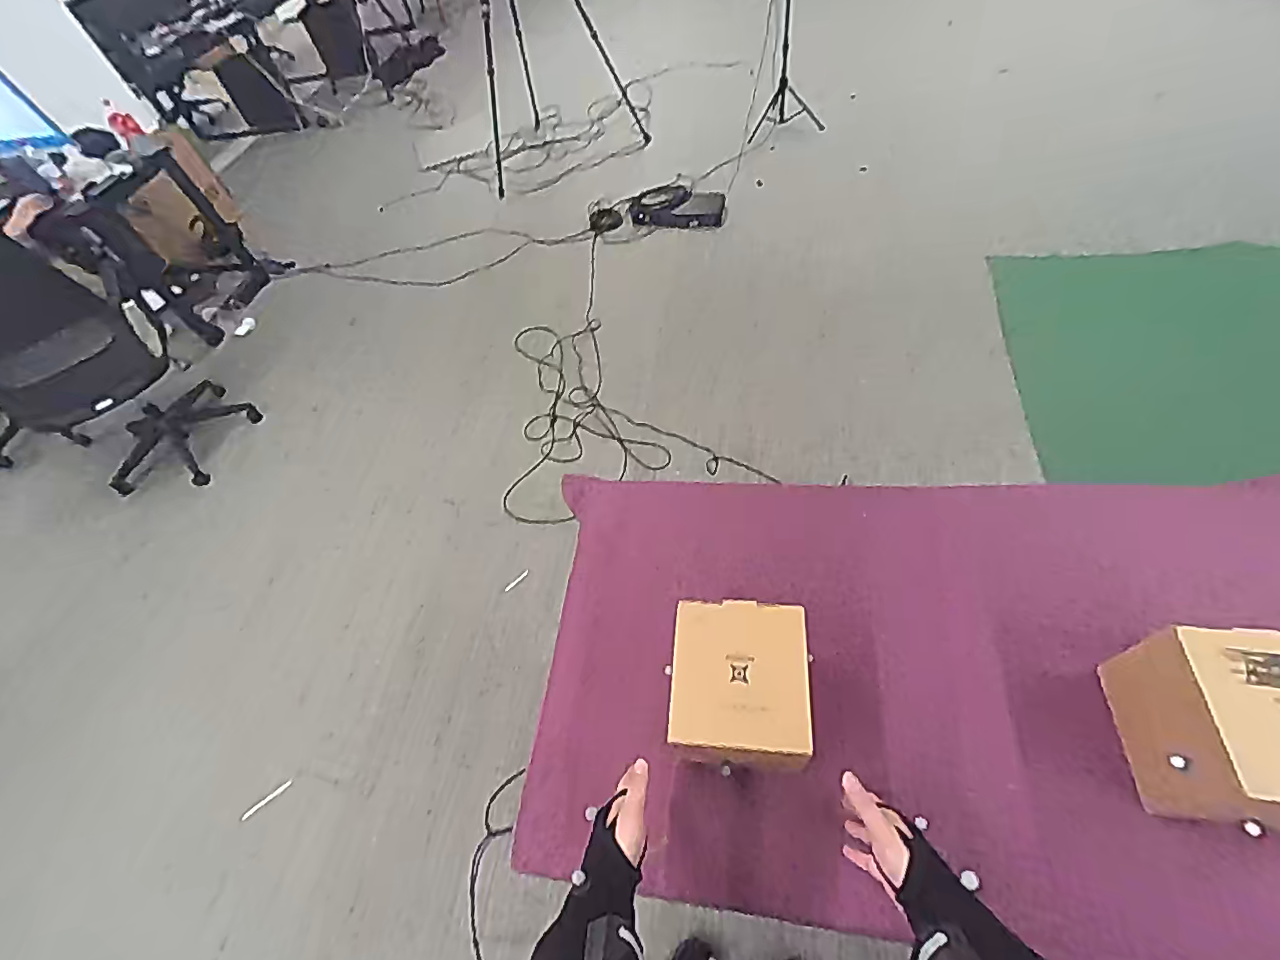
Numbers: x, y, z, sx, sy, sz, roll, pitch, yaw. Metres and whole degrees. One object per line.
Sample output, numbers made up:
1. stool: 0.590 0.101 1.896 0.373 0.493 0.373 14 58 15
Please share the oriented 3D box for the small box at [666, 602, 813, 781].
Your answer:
1. small box: 0.130 0.280 0.713 0.168 0.176 0.179 1 55 11
